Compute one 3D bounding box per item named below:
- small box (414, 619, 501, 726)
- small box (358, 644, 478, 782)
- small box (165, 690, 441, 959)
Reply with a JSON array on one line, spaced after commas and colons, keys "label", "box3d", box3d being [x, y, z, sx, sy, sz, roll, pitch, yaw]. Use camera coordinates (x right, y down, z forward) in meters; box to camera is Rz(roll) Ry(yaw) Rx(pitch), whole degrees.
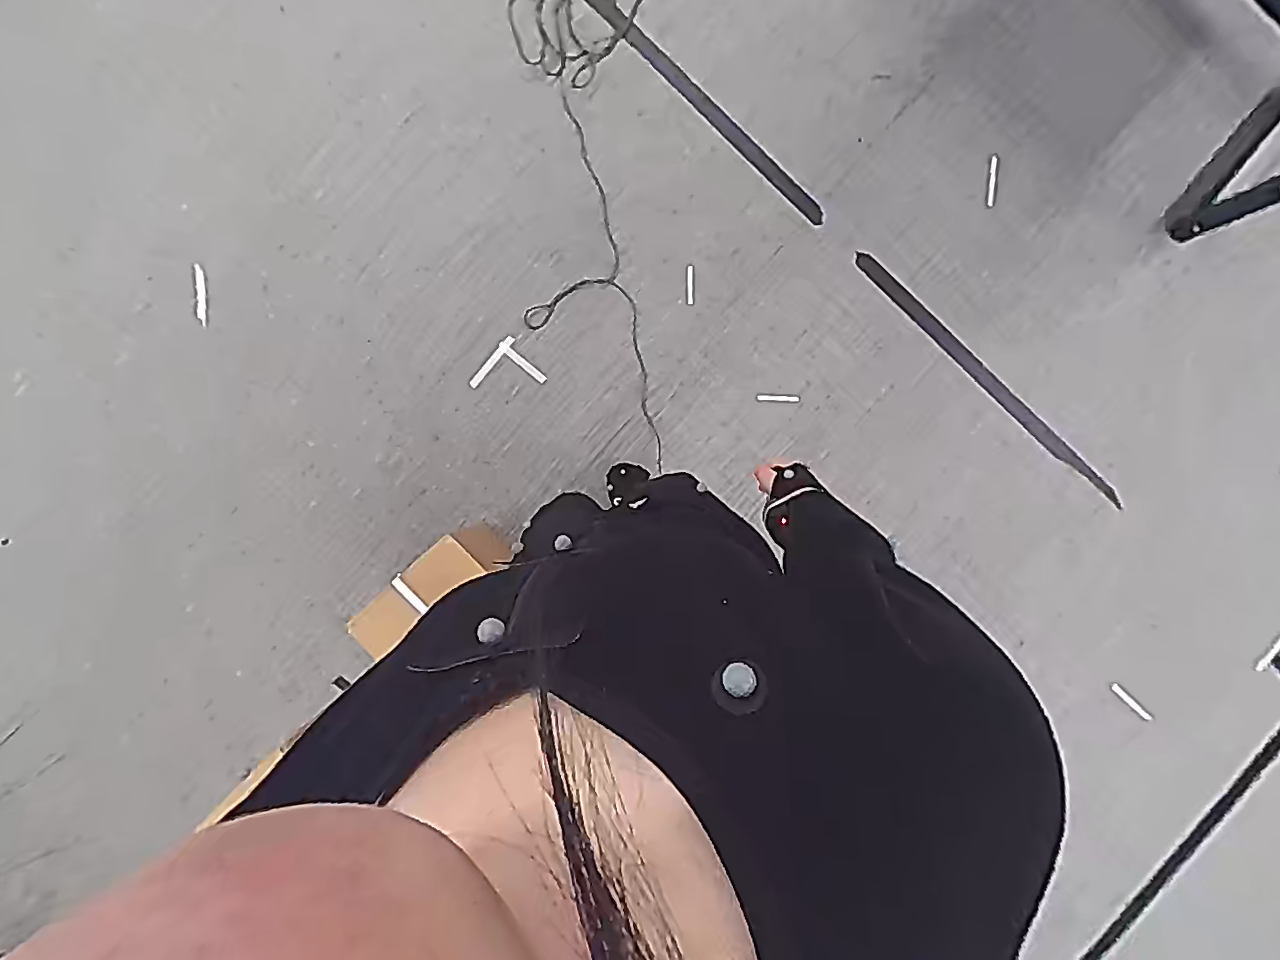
[{"label": "small box", "box3d": [-0.362, 0.370, 0.938, 0.179, 0.176, 0.168, -43, 92, -1]}, {"label": "small box", "box3d": [-0.355, 0.369, 0.775, 0.168, 0.176, 0.179, 44, 90, -3]}, {"label": "small box", "box3d": [-0.353, 0.377, 0.613, 0.168, 0.176, 0.179, 44, 91, -1]}]
